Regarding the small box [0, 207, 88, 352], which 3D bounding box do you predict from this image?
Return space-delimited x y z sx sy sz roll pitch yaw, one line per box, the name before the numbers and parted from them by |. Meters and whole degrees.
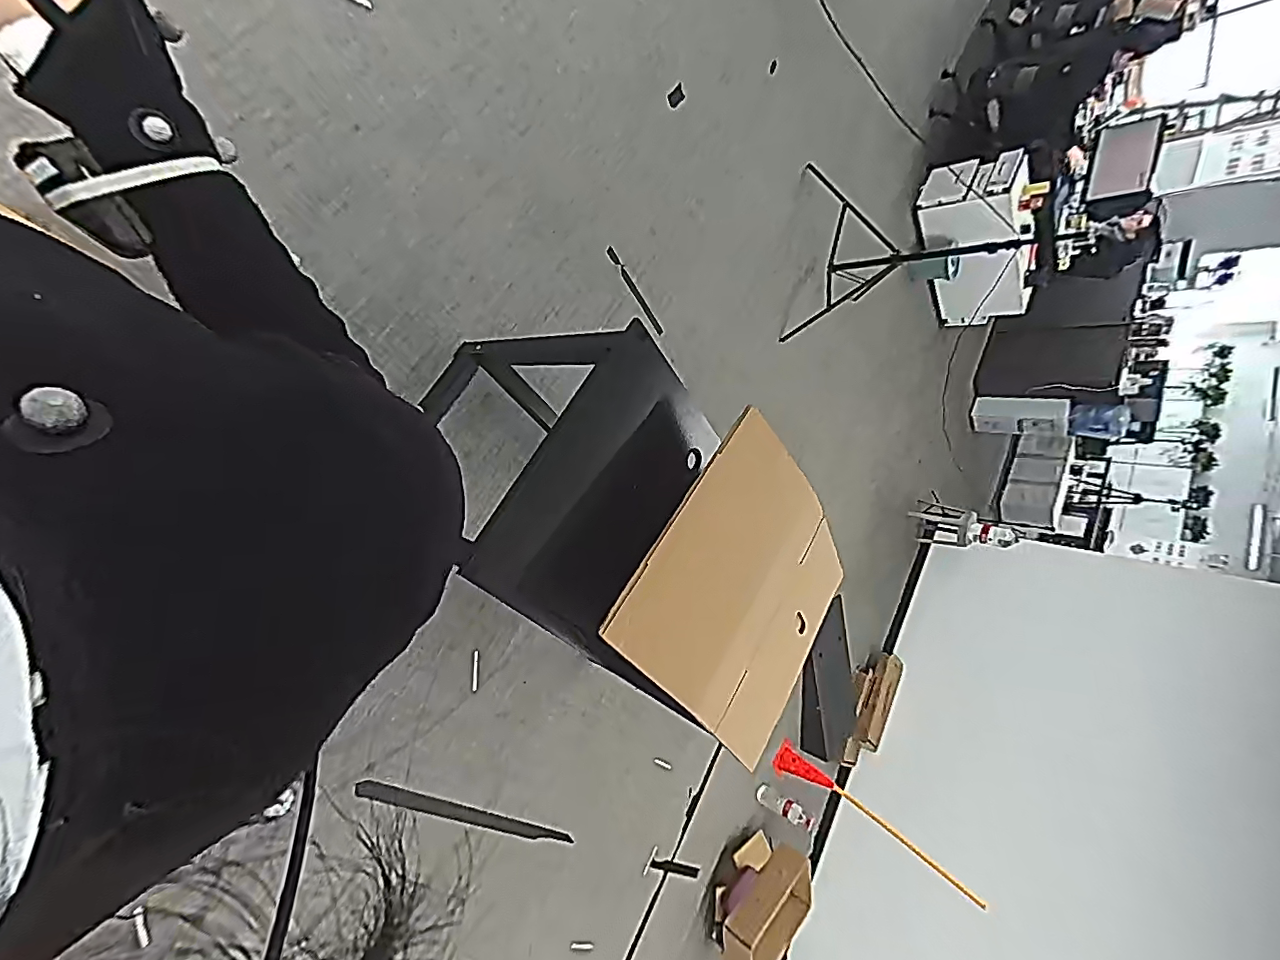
small box | -0.978 -0.307 0.803 0.168 0.176 0.179 39 68 -44
